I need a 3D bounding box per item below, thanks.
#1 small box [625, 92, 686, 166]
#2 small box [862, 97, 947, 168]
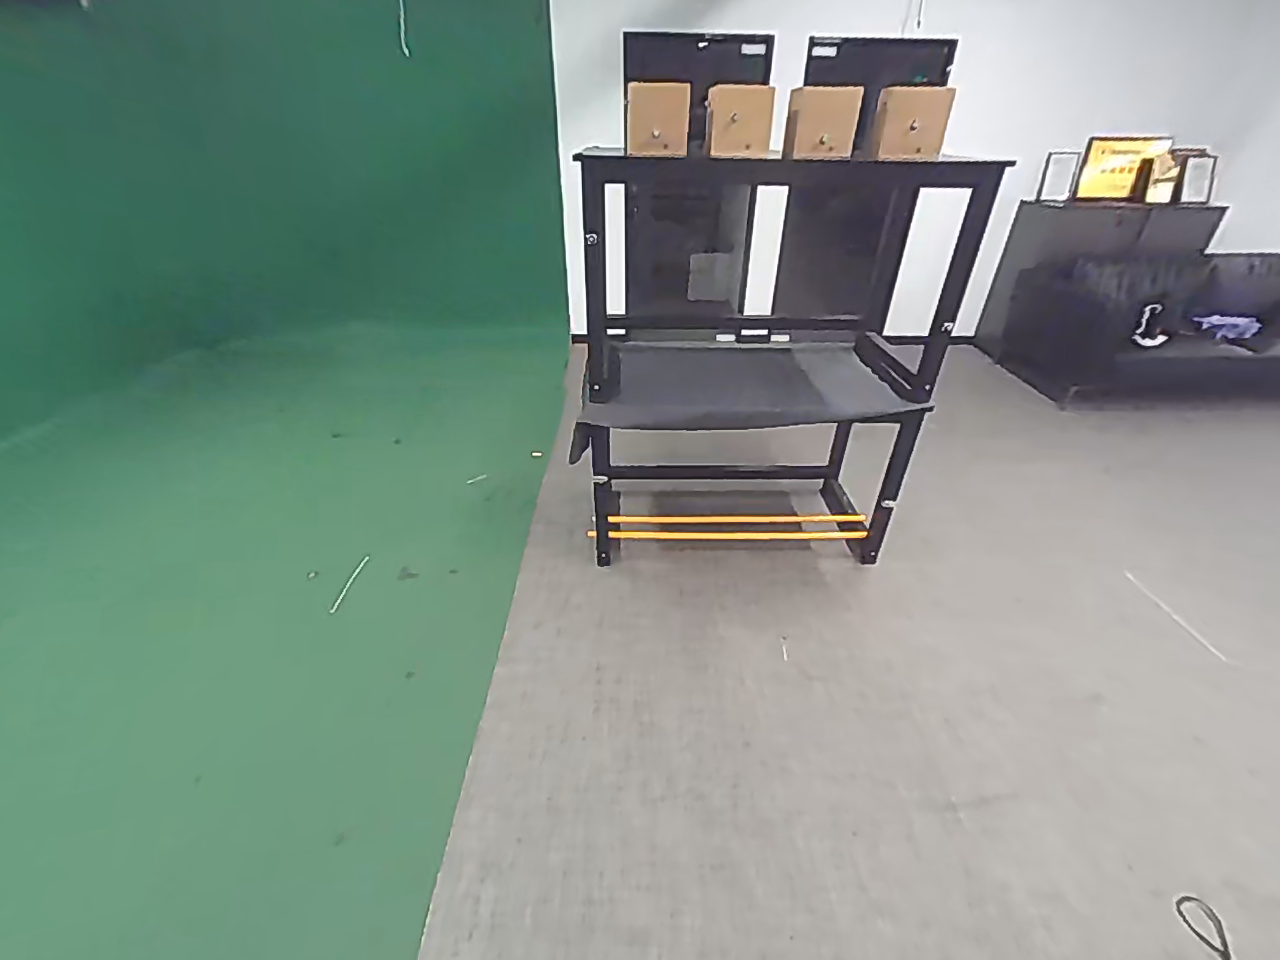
[{"bbox_3d":[0.040,-1.022,1.577,0.168,0.176,0.179,-1,34,-3],"label":"small box"},{"bbox_3d":[0.763,-1.010,1.577,0.168,0.176,0.179,6,33,8],"label":"small box"}]
